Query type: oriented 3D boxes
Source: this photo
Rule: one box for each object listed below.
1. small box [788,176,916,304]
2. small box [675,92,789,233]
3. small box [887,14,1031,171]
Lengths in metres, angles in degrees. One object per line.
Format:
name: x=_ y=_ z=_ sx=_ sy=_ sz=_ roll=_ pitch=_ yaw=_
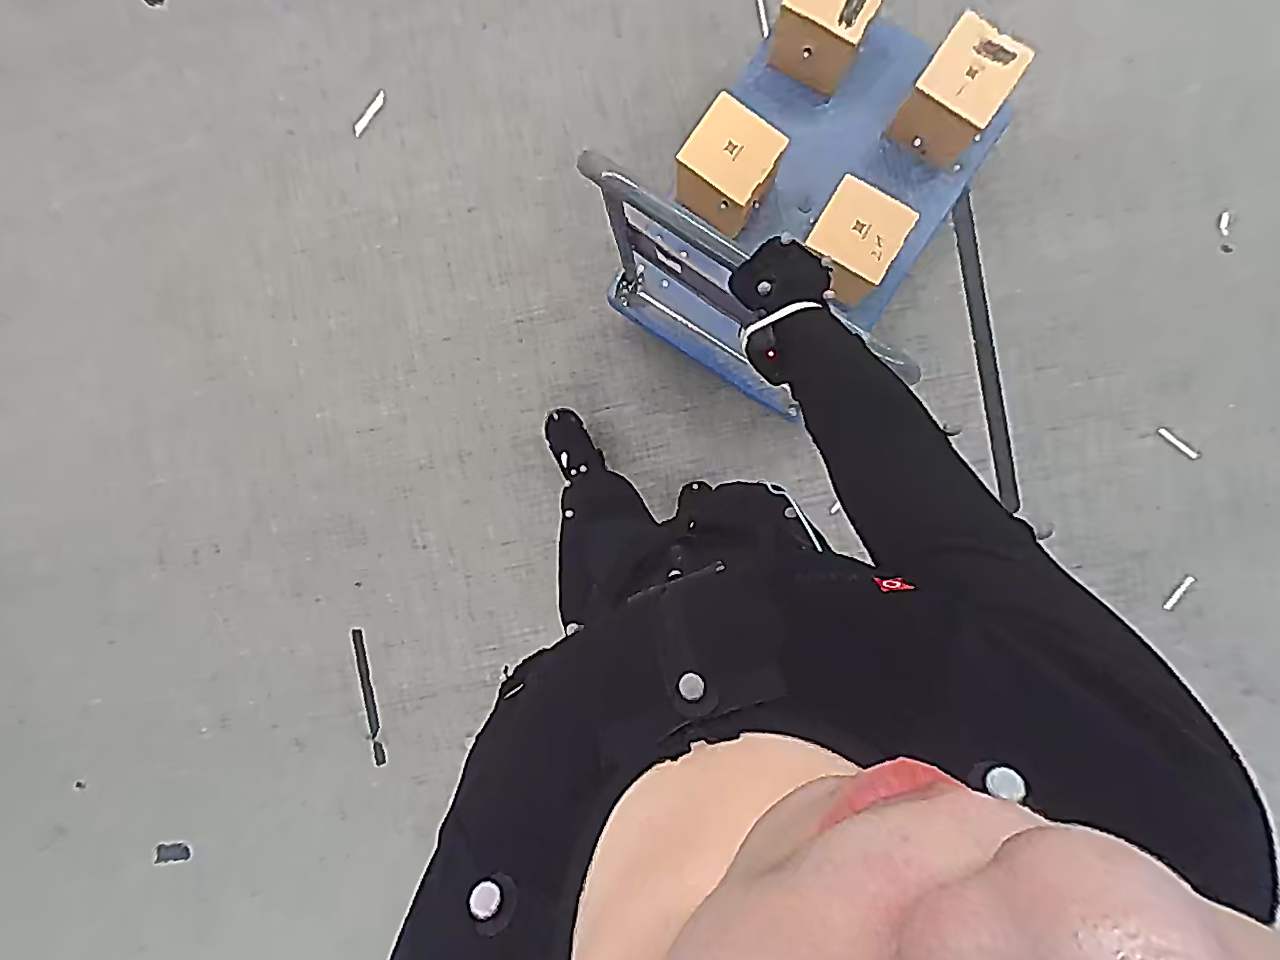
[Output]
small box: x=0.448 y=-0.510 z=1.179 sx=0.179 sy=0.176 sz=0.168 roll=31 pitch=94 yaw=1
small box: x=0.189 y=-0.679 z=1.183 sx=0.179 sy=0.176 sz=0.168 roll=36 pitch=93 yaw=-1
small box: x=0.665 y=-0.814 z=1.155 sx=0.168 sy=0.176 sz=0.179 roll=34 pitch=95 yaw=1
